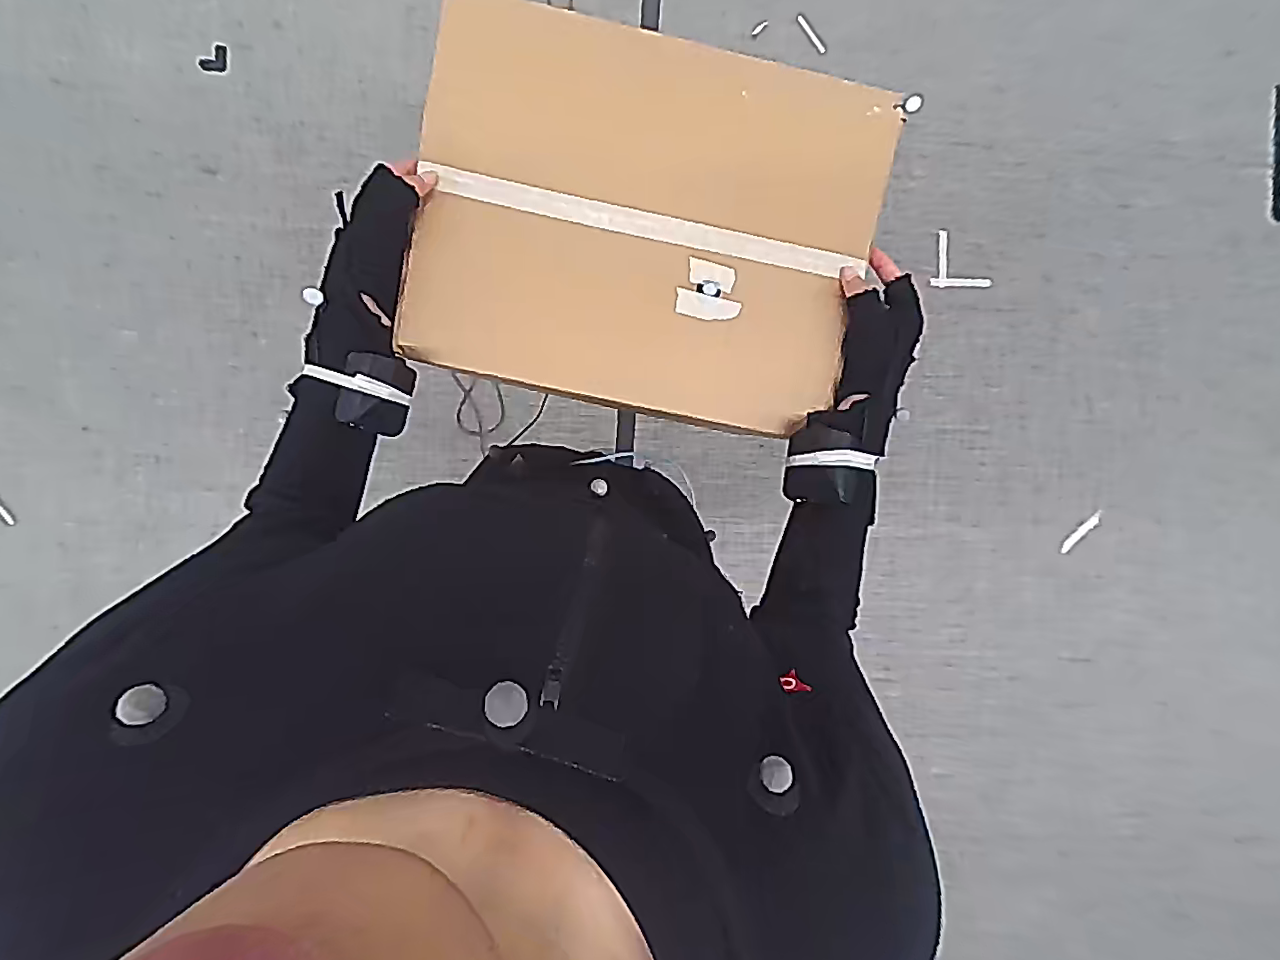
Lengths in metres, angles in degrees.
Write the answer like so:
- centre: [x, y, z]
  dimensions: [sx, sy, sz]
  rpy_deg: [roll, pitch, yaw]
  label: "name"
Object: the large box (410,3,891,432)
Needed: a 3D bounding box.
- centre: [0.000, -0.245, 0.641]
  dimensions: [0.408, 0.320, 0.320]
  rpy_deg: [11, 97, -4]
  label: "large box"
